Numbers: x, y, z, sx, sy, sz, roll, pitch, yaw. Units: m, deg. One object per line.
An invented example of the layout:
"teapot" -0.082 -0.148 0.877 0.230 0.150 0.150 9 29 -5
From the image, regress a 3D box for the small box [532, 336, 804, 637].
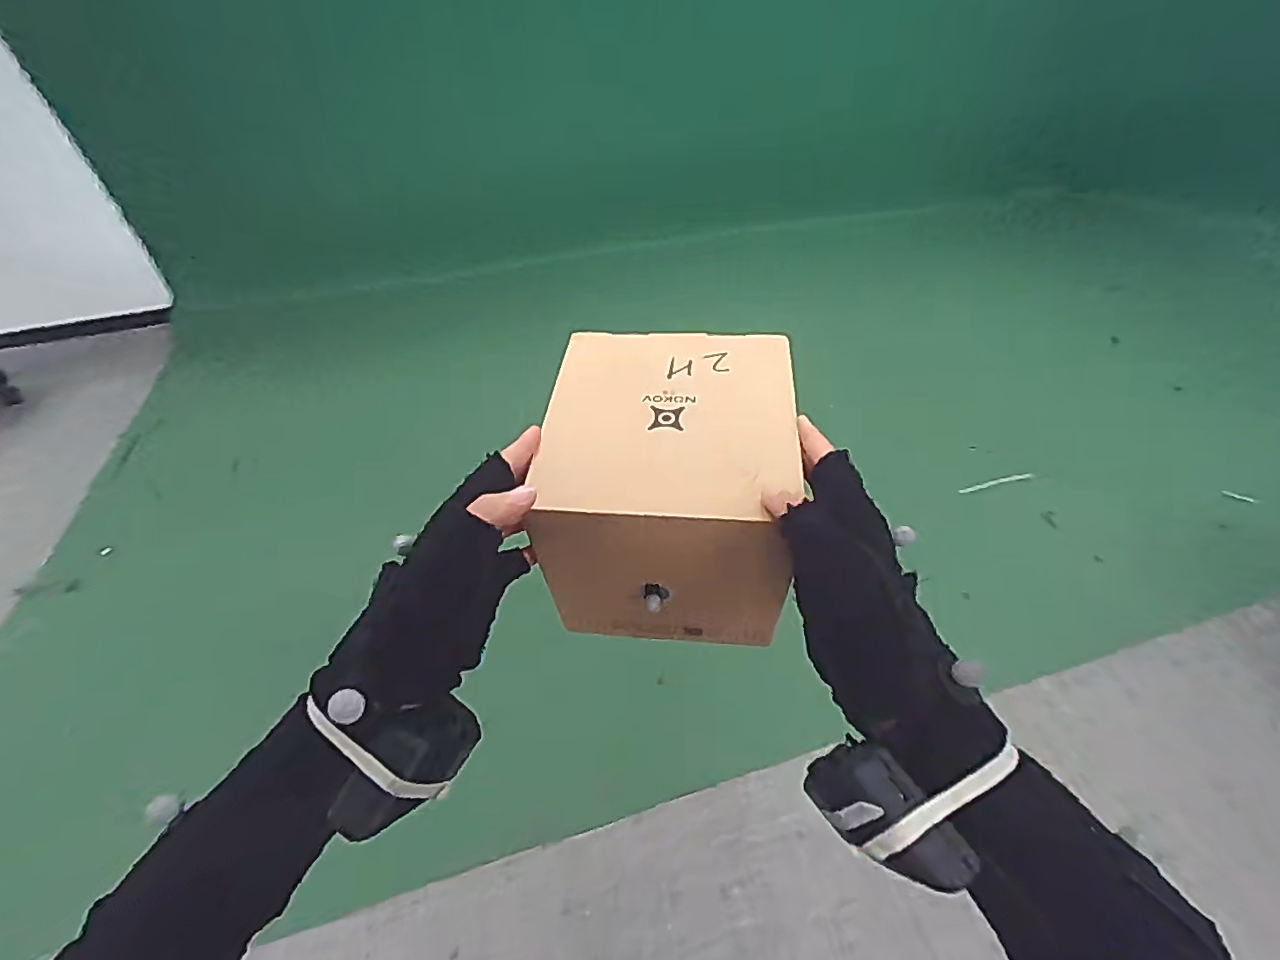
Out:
"small box" 0.030 0.007 0.429 0.168 0.176 0.179 3 49 7
